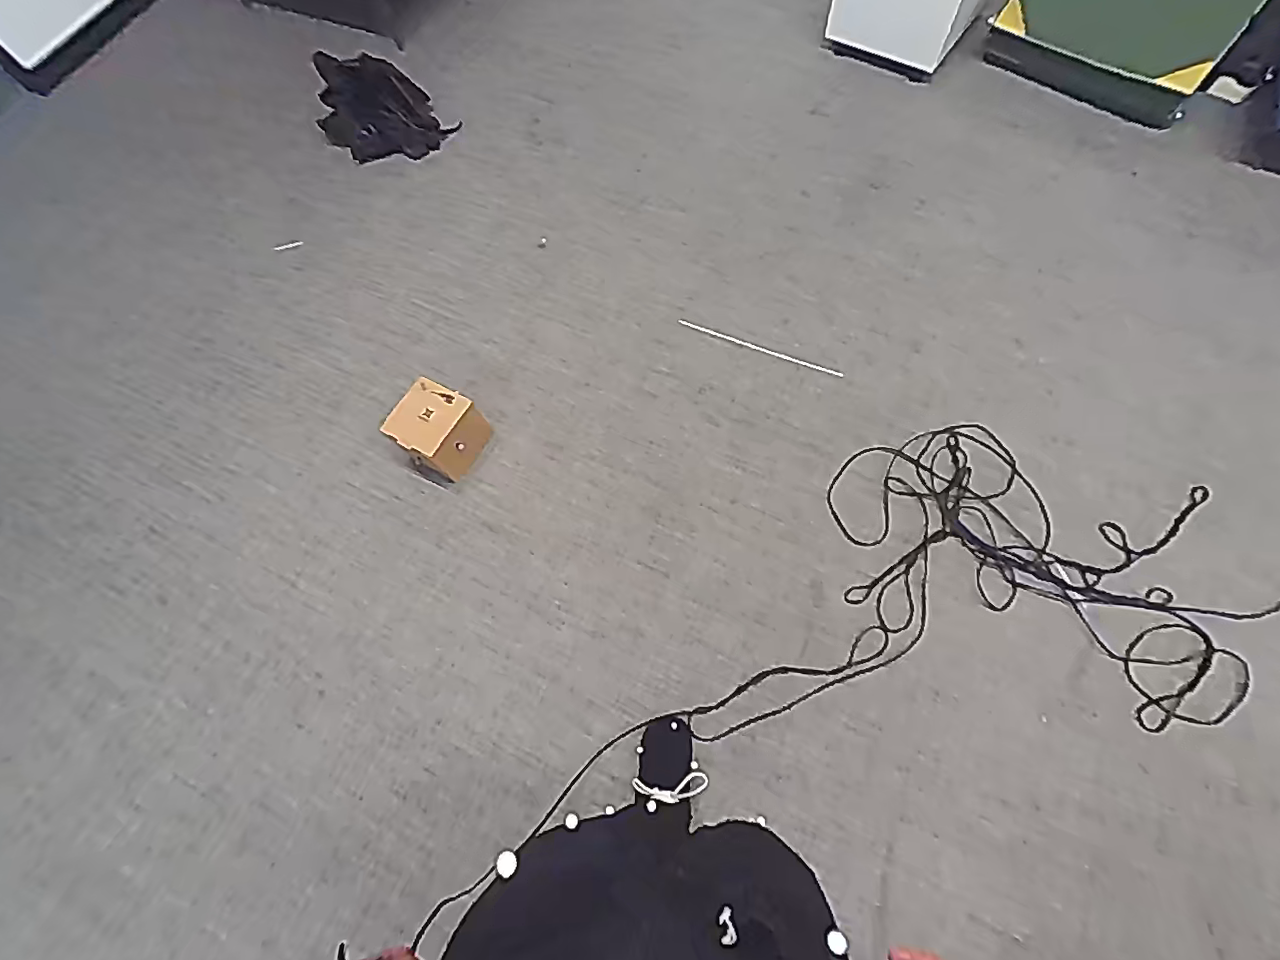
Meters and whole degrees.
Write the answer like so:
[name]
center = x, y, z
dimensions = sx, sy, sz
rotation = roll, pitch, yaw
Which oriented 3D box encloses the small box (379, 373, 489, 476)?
[small box]
center = -0.518, -0.136, 1.389
dimensions = 0.168, 0.176, 0.179
rotation = 27, 74, 13
